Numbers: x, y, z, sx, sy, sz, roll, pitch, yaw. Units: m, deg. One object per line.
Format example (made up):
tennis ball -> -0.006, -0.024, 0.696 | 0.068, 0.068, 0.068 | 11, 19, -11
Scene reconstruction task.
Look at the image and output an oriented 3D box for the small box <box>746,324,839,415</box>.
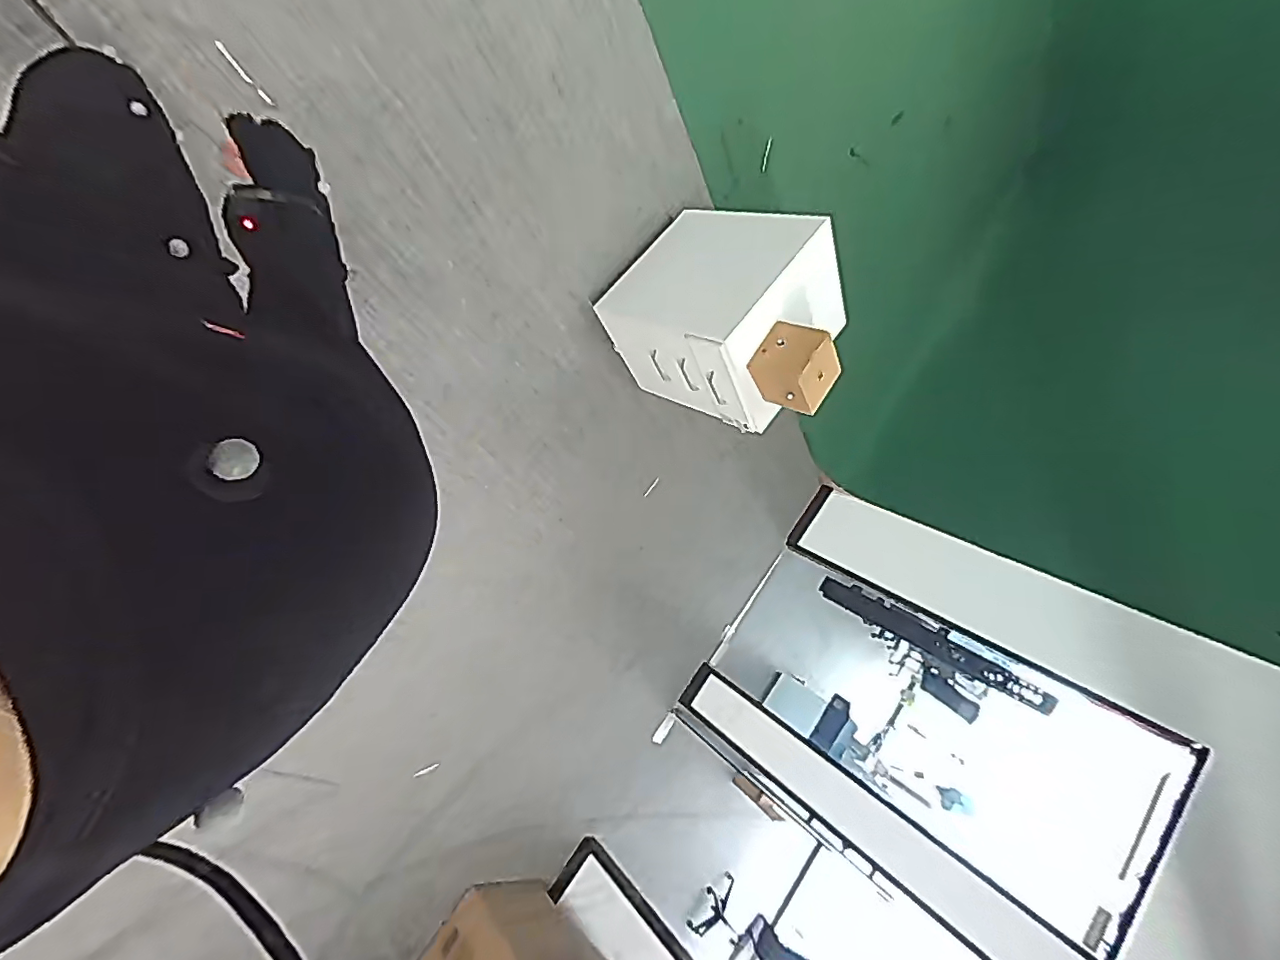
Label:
small box -> 0.429, -0.316, 1.525 | 0.168, 0.176, 0.179 | -55, 139, -8
